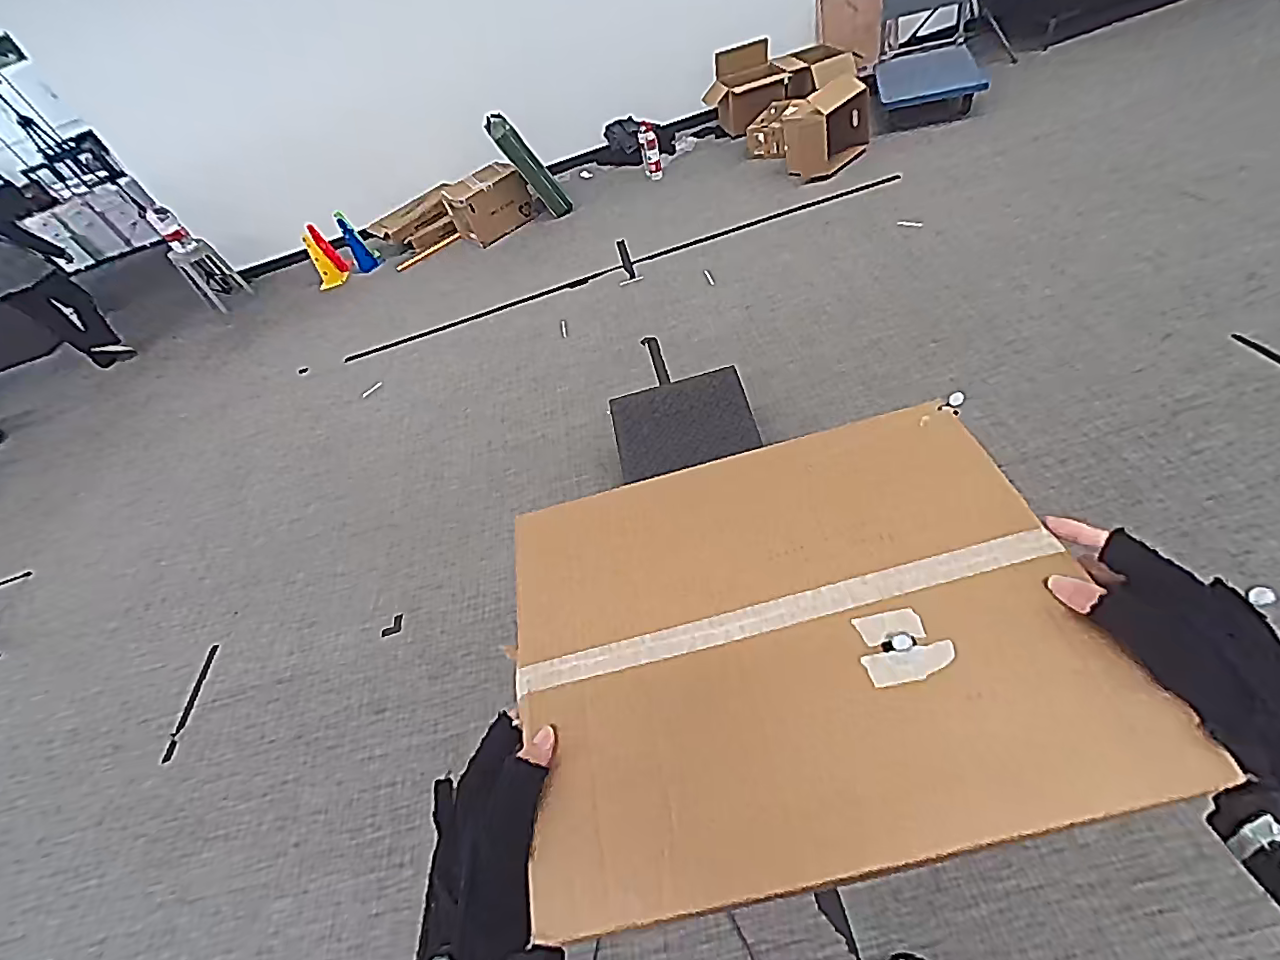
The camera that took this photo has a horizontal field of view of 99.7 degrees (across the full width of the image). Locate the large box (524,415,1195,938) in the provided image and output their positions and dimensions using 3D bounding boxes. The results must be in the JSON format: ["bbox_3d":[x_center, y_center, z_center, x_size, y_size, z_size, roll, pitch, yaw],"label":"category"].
[{"bbox_3d":[0.136,0.197,0.528,0.408,0.320,0.320,-16,51,2],"label":"large box"}]
